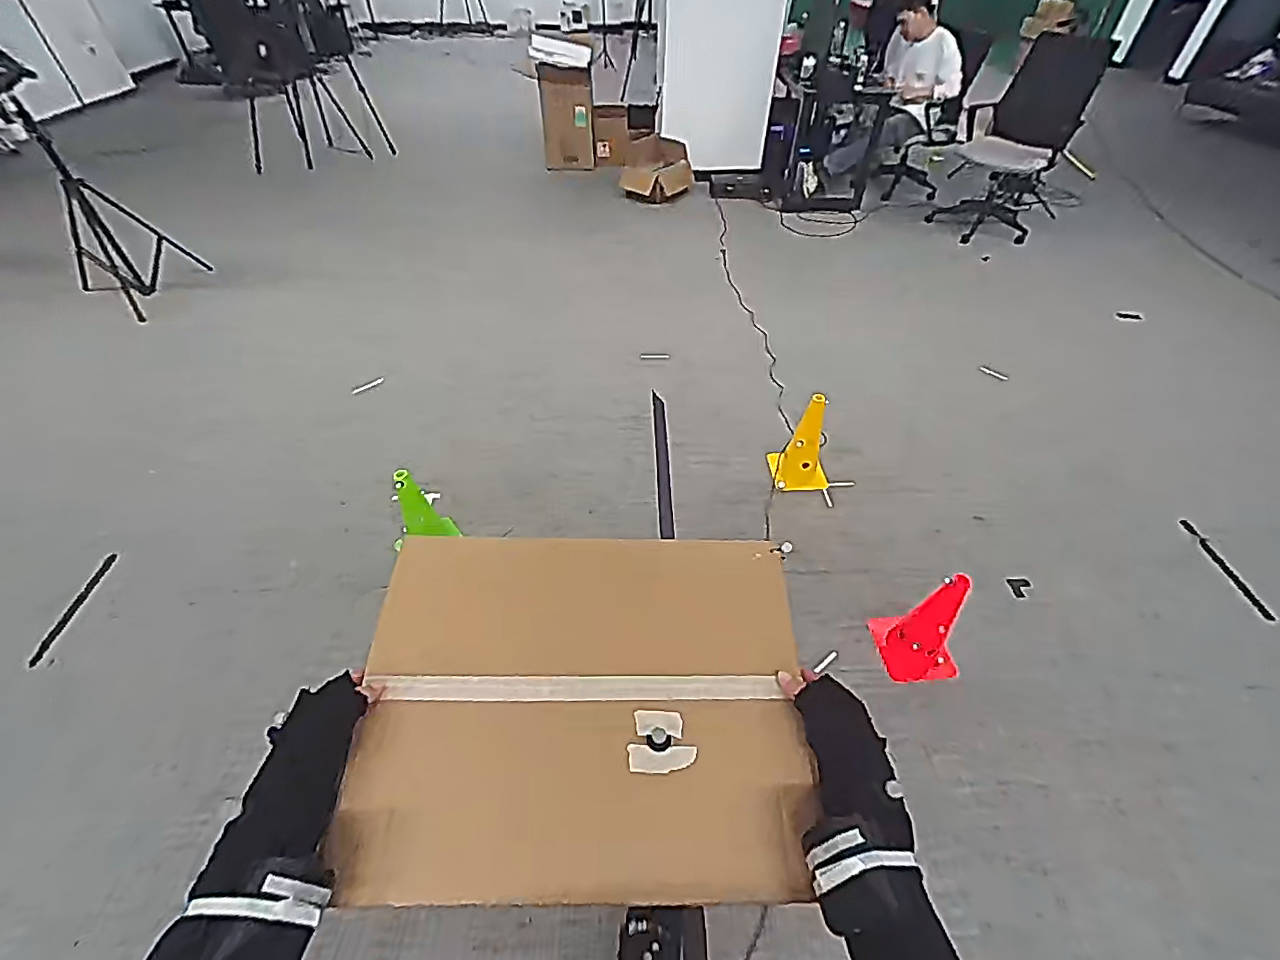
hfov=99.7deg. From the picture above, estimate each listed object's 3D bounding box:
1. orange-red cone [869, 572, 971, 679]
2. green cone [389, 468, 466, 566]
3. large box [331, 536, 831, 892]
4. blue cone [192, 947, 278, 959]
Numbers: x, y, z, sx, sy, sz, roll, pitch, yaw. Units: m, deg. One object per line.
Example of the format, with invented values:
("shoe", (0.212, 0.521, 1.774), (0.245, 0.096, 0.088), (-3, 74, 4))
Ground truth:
("orange-red cone", (0.794, 0.366, 1.461), (0.198, 0.360, 0.199), (-2, 45, -4))
("green cone", (-0.701, 0.098, 1.699), (0.202, 0.368, 0.200), (-31, 53, -25))
("large box", (-0.053, 0.275, 0.630), (0.408, 0.320, 0.320), (2, 55, -2))
("blue cone", (-0.822, 0.919, 0.929), (0.192, 0.380, 0.193), (1, 46, 2))
